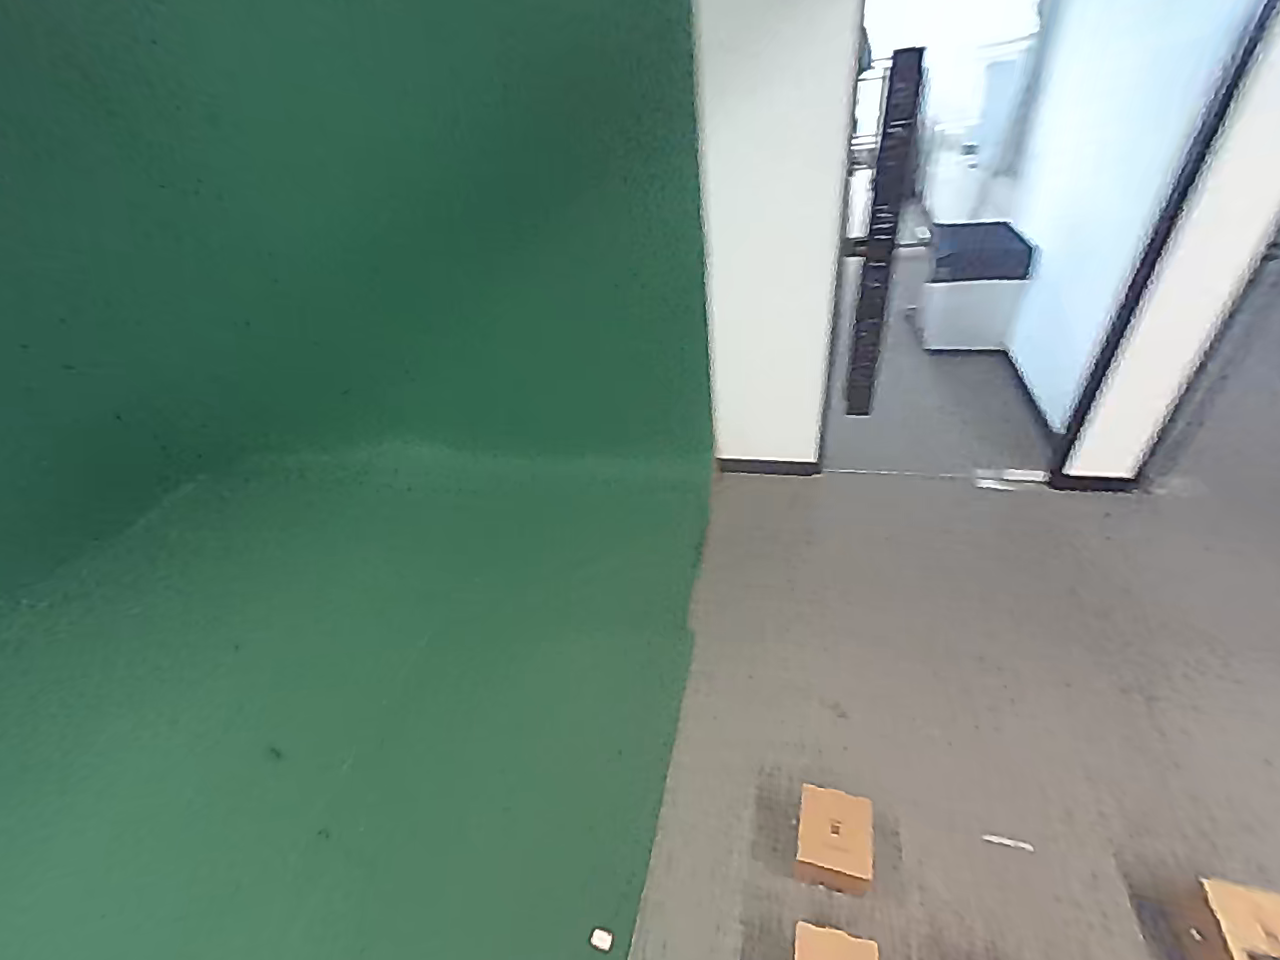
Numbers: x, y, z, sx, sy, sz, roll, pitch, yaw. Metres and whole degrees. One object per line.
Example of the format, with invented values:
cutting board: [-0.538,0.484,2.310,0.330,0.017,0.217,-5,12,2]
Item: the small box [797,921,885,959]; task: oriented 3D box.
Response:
small box: [0.410,1.063,1.116,0.168,0.176,0.179,4,39,17]
